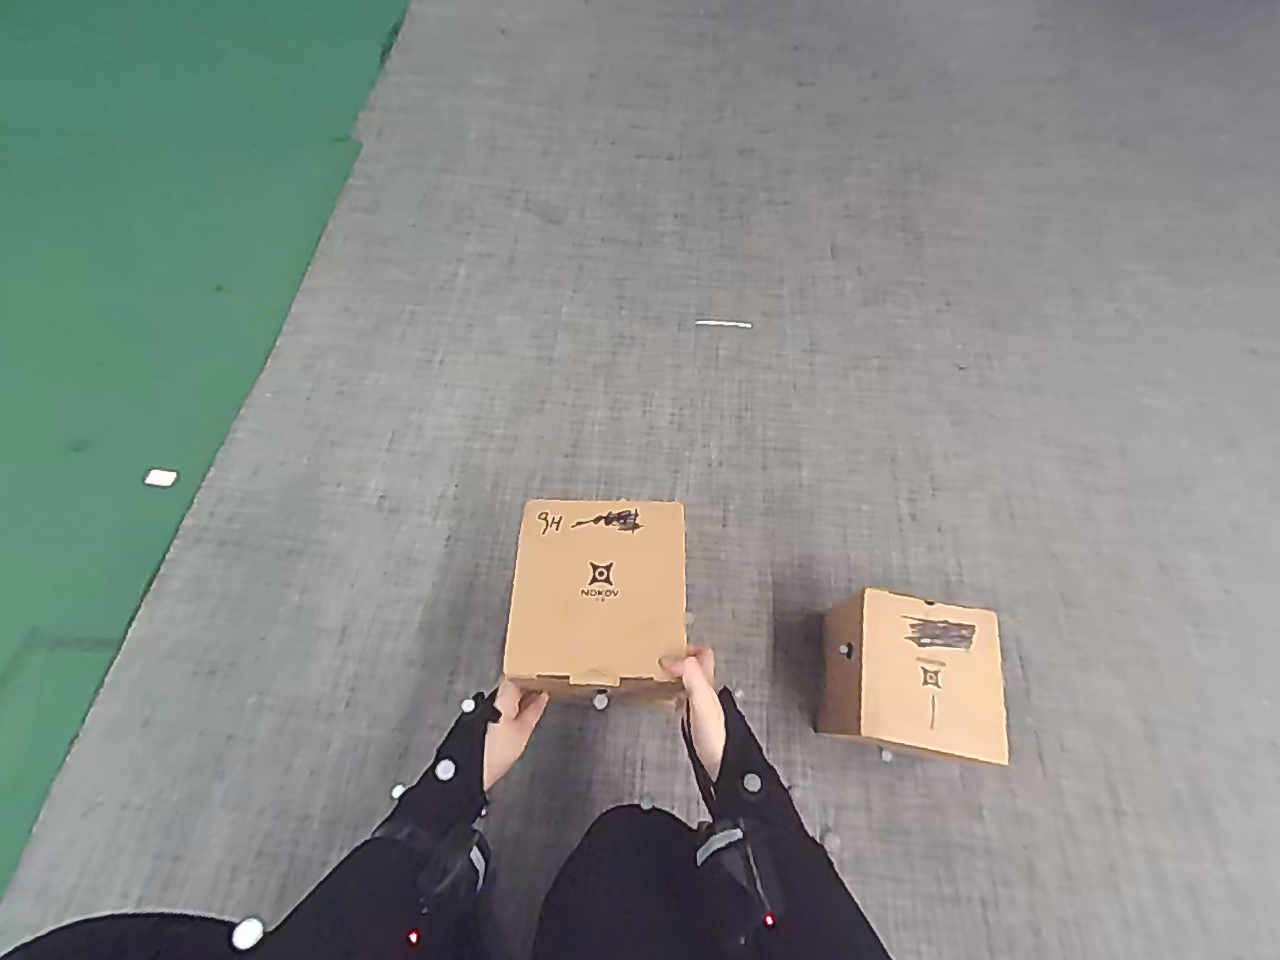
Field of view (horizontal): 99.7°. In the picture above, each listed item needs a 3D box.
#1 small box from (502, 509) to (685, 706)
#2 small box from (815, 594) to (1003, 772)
[{"bbox_3d":[-0.039,0.145,0.584,0.168,0.176,0.179,2,64,0],"label":"small box"},{"bbox_3d":[0.340,0.270,0.716,0.168,0.176,0.179,10,65,4],"label":"small box"}]
